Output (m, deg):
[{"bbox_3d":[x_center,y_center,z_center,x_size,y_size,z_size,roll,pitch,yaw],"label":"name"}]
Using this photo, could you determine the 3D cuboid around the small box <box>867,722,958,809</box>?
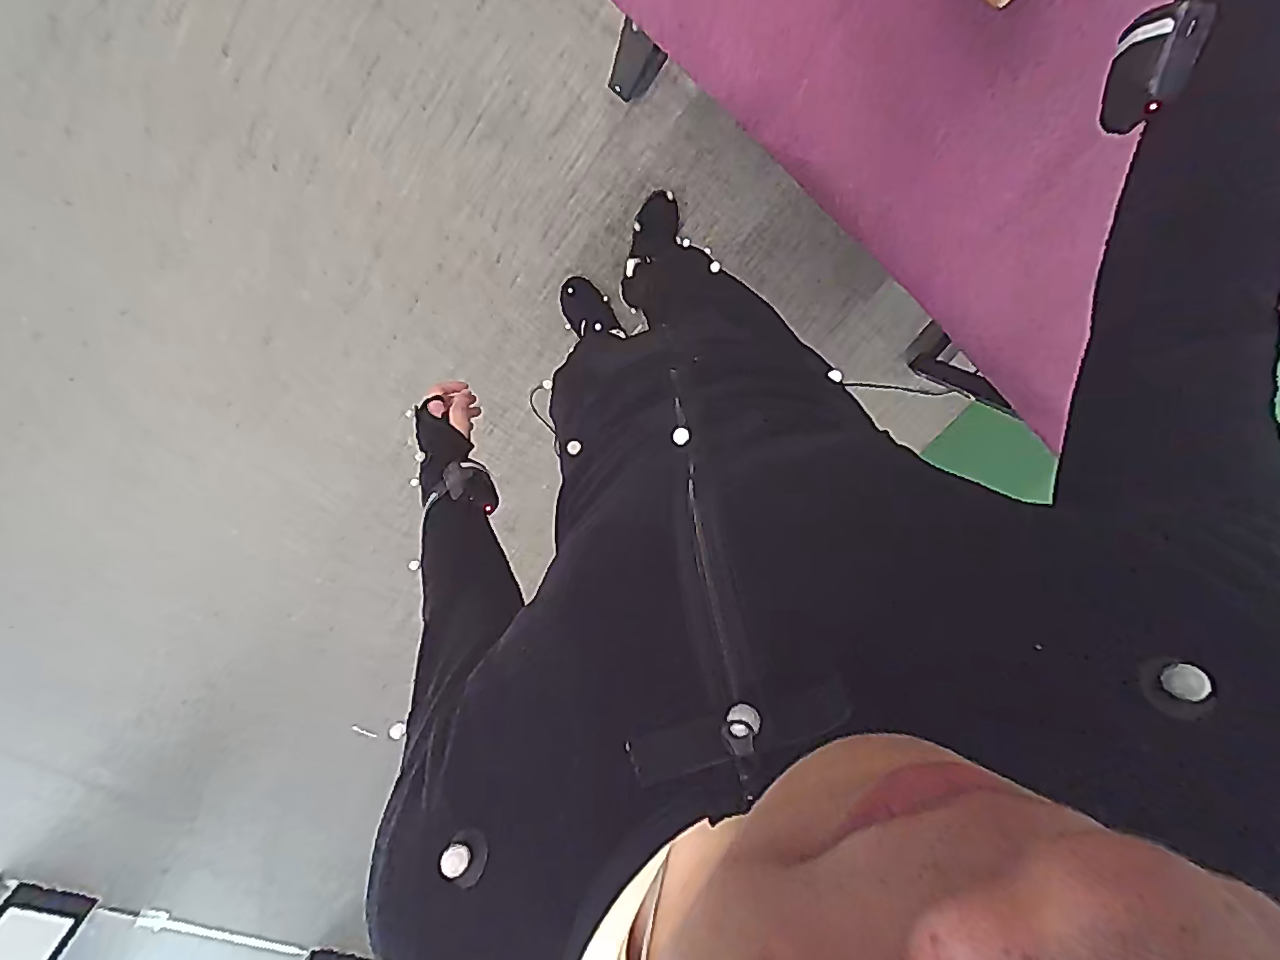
[{"bbox_3d":[0.898,0.944,1.797,0.179,0.176,0.168,37,106,-20],"label":"small box"}]
